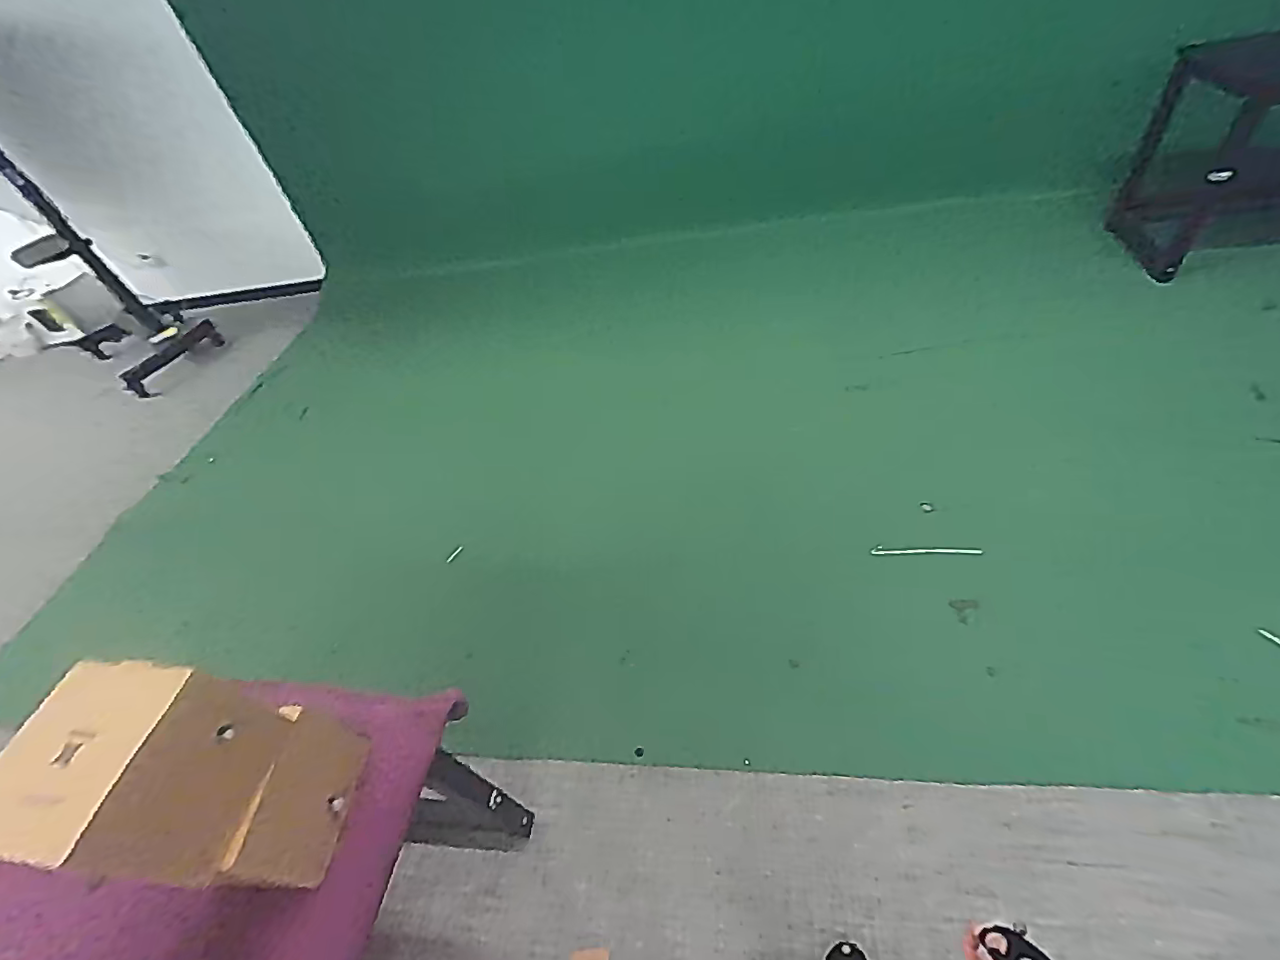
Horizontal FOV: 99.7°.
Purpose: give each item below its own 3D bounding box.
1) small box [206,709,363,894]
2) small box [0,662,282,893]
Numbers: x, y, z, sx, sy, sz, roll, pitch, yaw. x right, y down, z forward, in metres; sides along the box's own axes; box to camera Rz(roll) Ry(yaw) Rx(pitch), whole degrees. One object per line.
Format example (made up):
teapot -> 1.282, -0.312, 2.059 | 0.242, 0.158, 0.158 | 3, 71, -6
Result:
small box -> -0.500, 0.420, 0.710 | 0.168, 0.176, 0.179 | -5, 47, 9
small box -> -0.538, 0.320, 0.586 | 0.168, 0.176, 0.179 | -1, 48, 13
